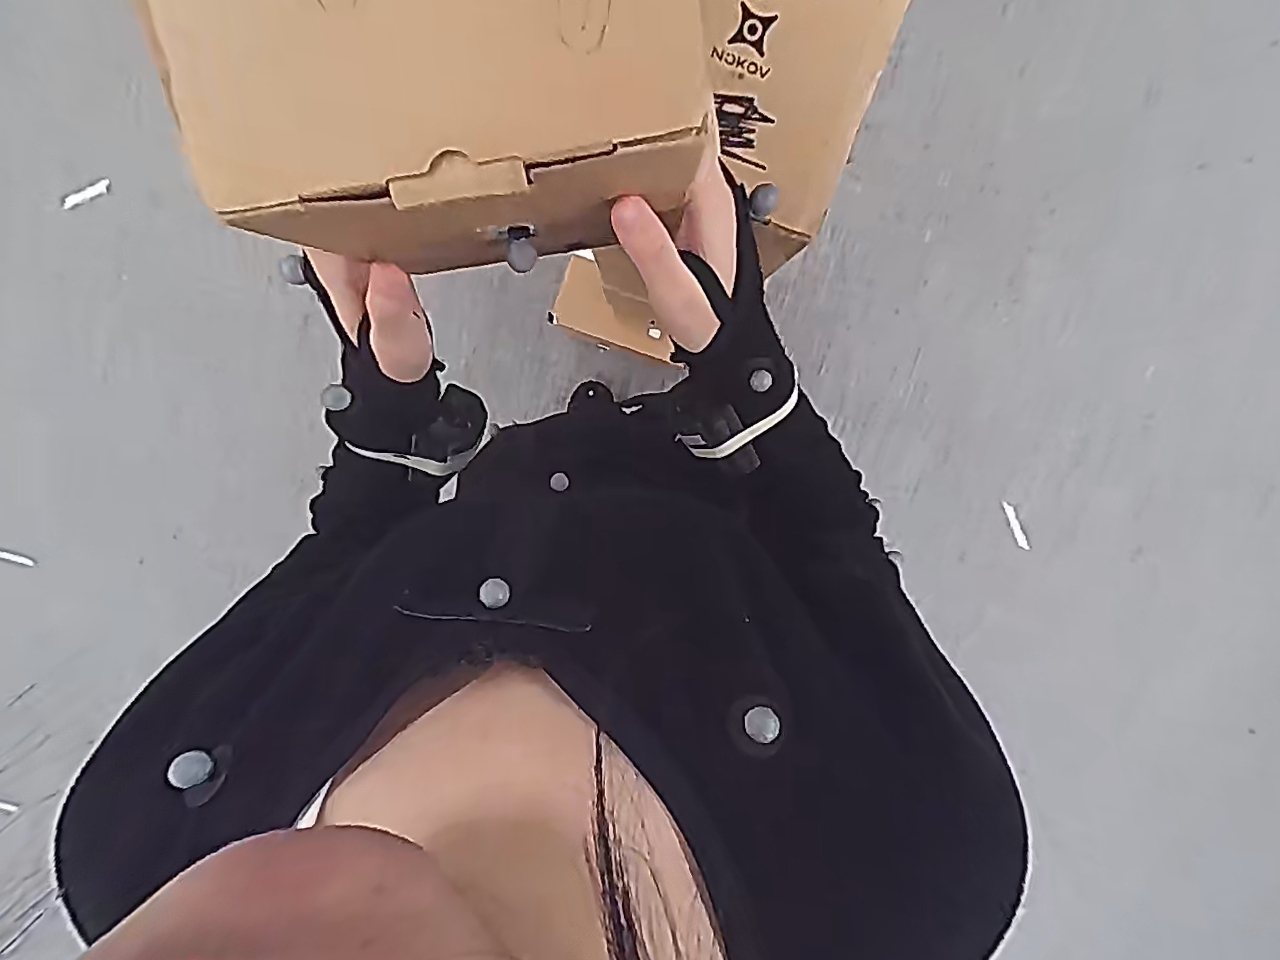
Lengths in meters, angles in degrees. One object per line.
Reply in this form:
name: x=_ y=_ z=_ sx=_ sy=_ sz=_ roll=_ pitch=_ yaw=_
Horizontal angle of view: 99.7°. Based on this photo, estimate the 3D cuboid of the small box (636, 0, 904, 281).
small box: x=0.058 y=-0.269 z=0.402 sx=0.168 sy=0.176 sz=0.179 roll=20 pitch=99 yaw=-4

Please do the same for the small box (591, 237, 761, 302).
small box: x=0.054 y=-0.297 z=0.564 sx=0.179 sy=0.176 sz=0.168 roll=20 pitch=100 yaw=-4

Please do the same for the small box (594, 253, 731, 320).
small box: x=0.051 y=-0.324 z=0.723 sx=0.179 sy=0.176 sz=0.168 roll=20 pitch=99 yaw=-4

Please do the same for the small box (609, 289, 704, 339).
small box: x=0.047 y=-0.378 z=1.048 sx=0.179 sy=0.176 sz=0.168 roll=16 pitch=100 yaw=-4

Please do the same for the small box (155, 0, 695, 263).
small box: x=-0.071 y=-0.200 z=0.236 sx=0.168 sy=0.176 sz=0.179 roll=-8 pitch=105 yaw=2
